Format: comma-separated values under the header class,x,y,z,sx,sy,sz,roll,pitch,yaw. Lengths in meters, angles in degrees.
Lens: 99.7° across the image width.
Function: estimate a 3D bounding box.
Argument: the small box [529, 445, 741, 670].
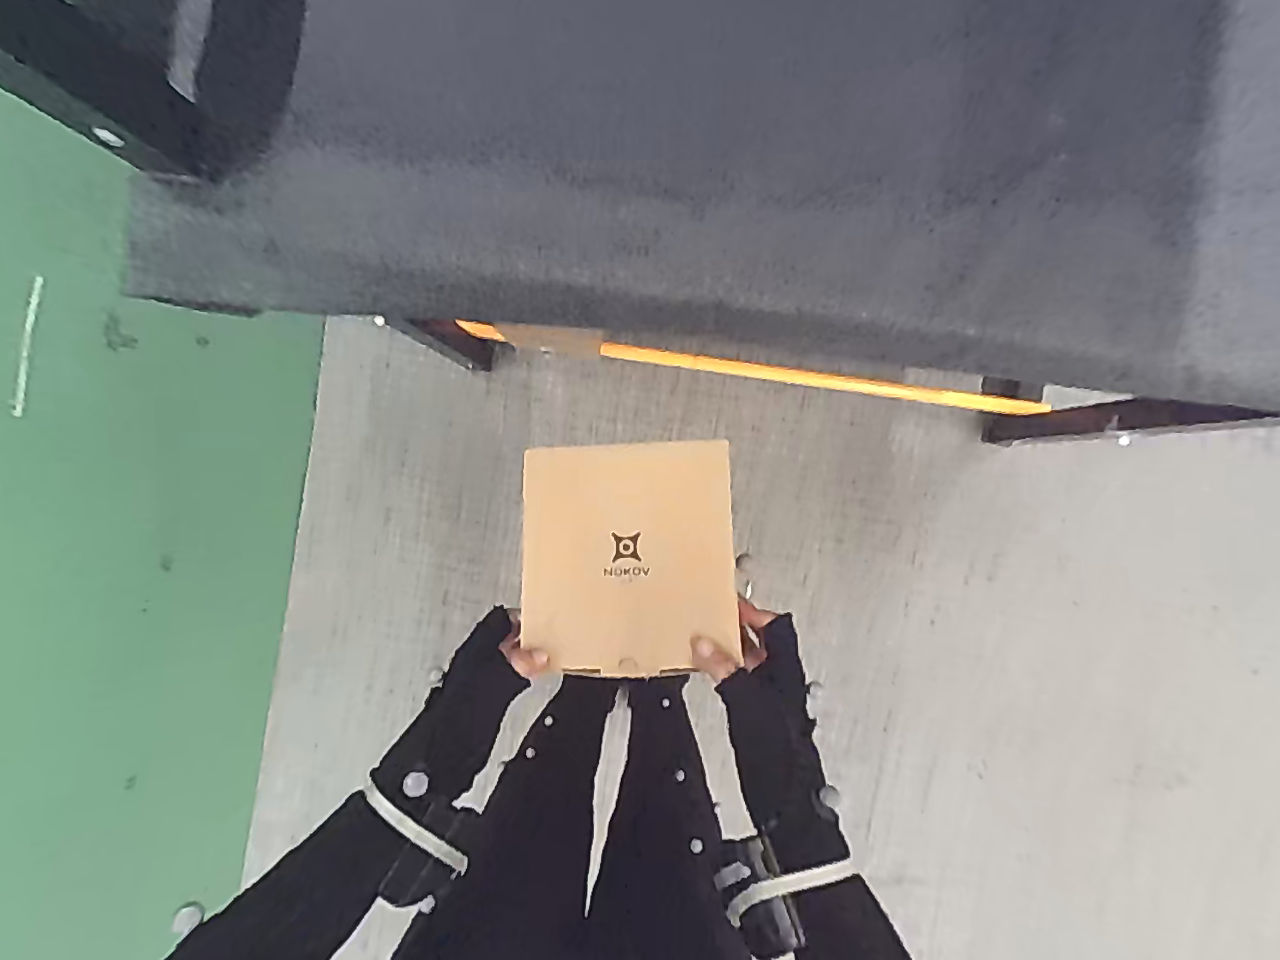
class,x,y,z,sx,sy,sz,roll,pitch,yaw
small box,0.002,0.073,0.504,0.168,0.176,0.179,-3,80,6
